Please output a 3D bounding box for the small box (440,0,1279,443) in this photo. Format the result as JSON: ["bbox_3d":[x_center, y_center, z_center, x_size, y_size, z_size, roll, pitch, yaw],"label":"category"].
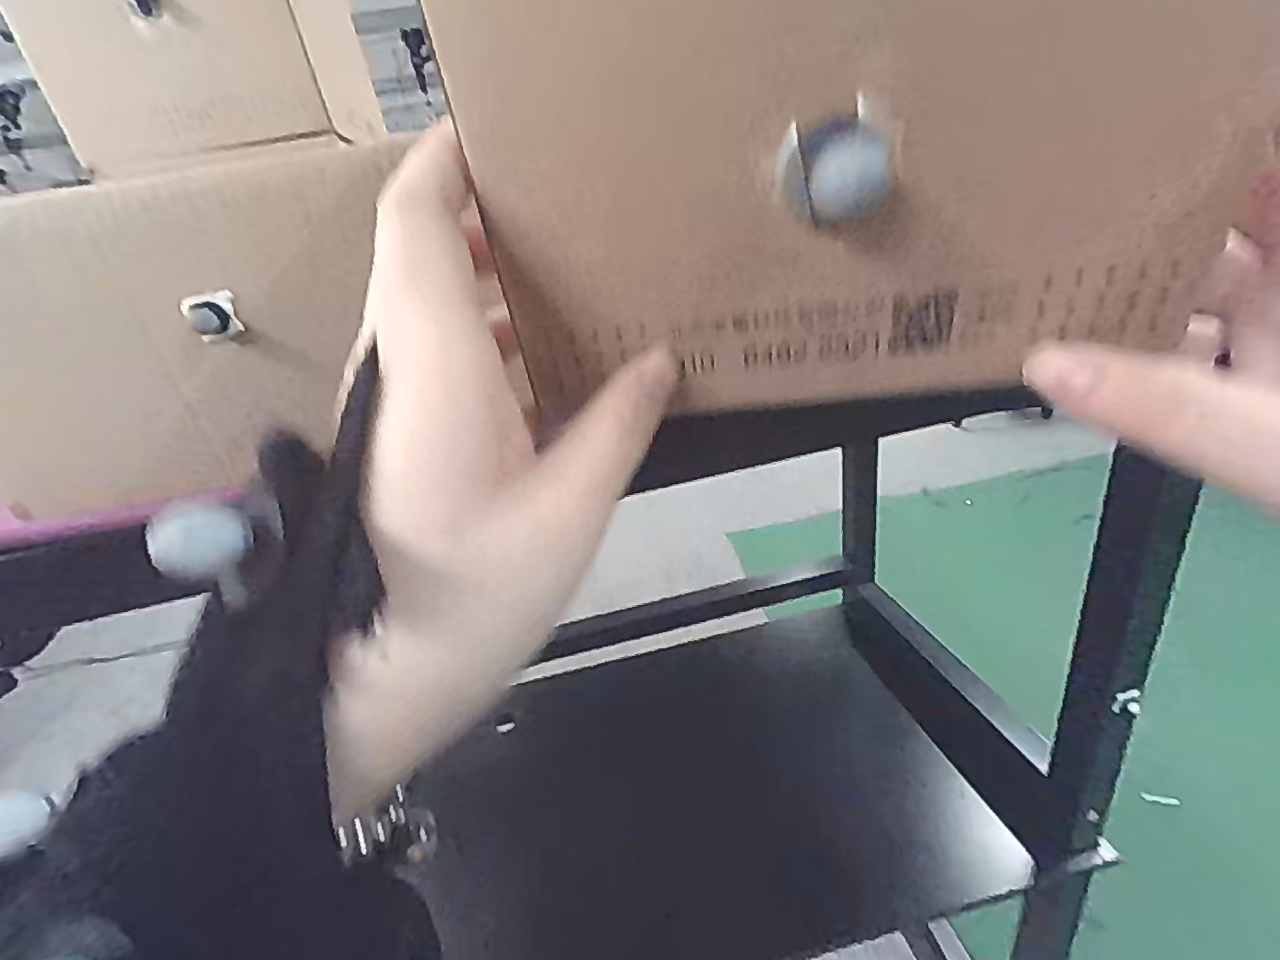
[{"bbox_3d":[0.047,-0.130,0.172,0.168,0.176,0.179,-4,37,10],"label":"small box"}]
